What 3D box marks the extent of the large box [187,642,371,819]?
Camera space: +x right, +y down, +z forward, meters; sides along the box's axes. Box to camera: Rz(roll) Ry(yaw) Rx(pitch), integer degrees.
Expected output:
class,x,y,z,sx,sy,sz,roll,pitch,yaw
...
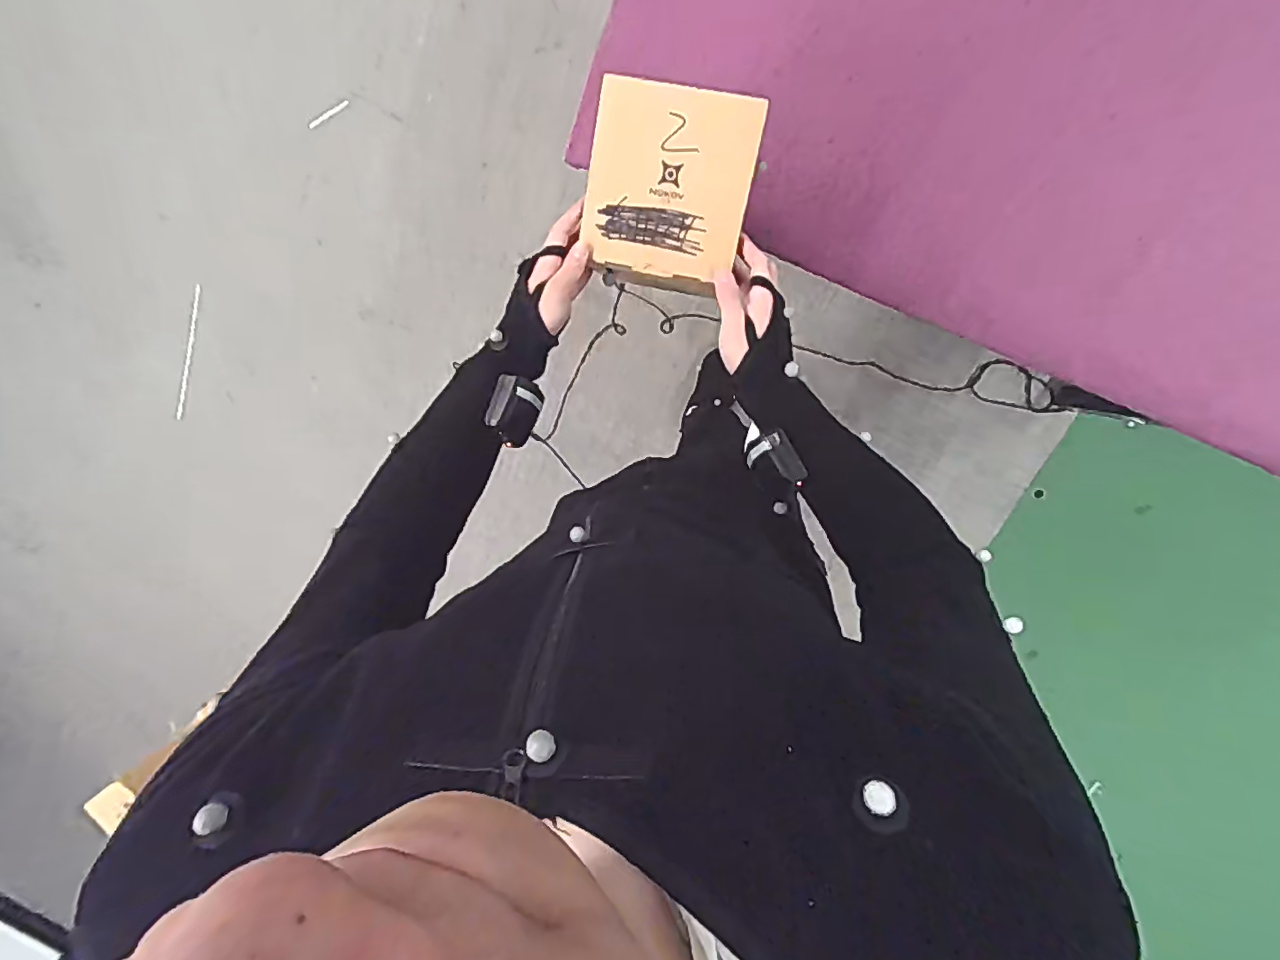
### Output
class,x,y,z,sx,sy,sz,roll,pitch,yaw
large box,-1.261,0.863,1.900,0.320,0.320,0.408,-42,95,16

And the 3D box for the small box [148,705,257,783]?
class,x,y,z,sx,sy,sz,roll,pitch,yaw
small box,-1.329,0.829,1.648,0.179,0.176,0.168,-35,96,13

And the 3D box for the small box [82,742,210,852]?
class,x,y,z,sx,sy,sz,roll,pitch,yaw
small box,-1.345,0.864,1.489,0.179,0.176,0.168,-35,97,15
